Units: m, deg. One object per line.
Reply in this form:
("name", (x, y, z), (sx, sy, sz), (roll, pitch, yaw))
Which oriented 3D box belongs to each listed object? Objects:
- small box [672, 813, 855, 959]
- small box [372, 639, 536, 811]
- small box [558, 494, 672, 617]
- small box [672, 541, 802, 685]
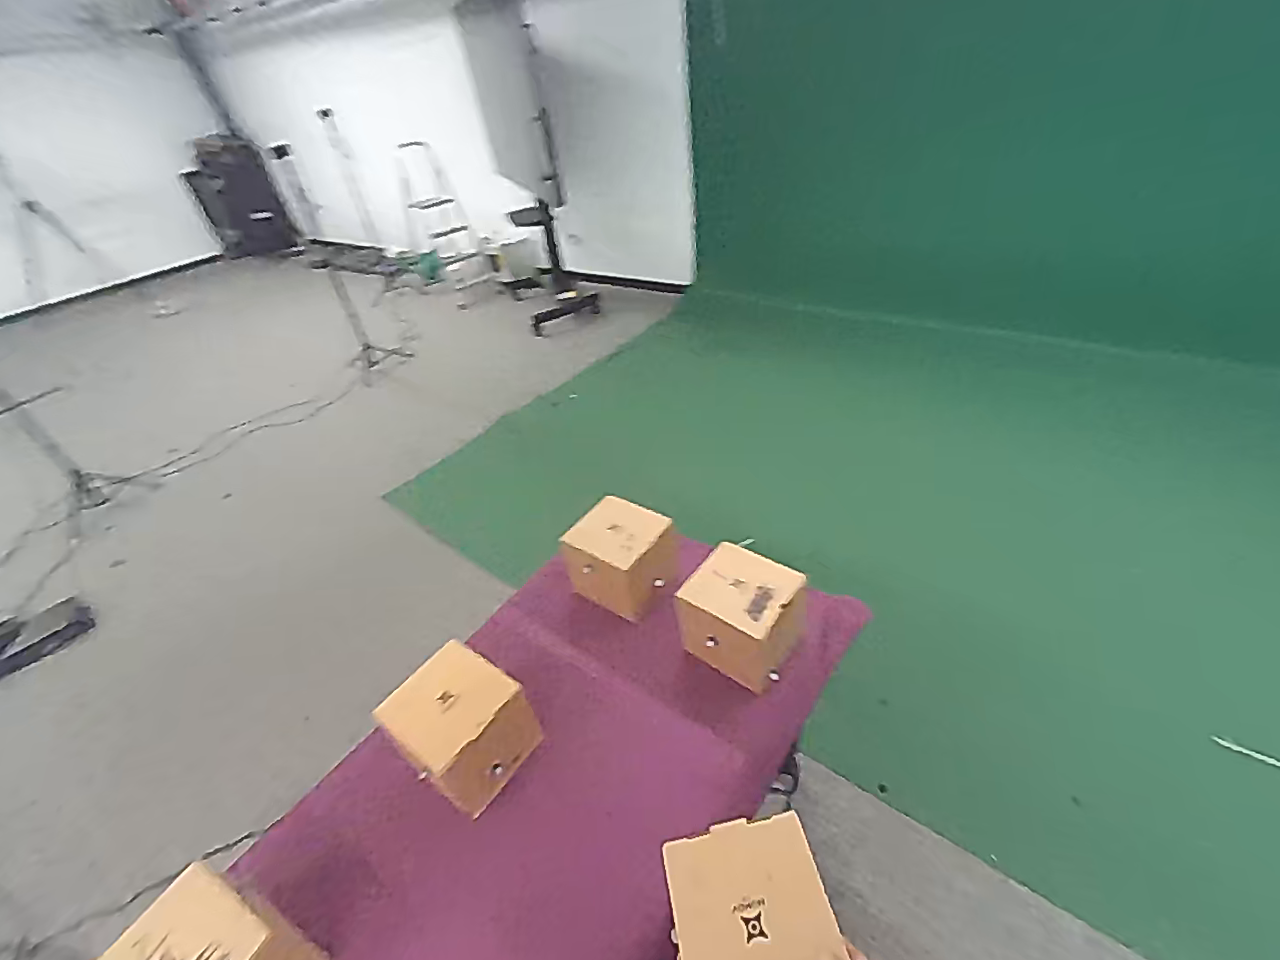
("small box", (0.139, 0.521, 0.616), (0.168, 0.176, 0.179), (-13, 39, 0))
("small box", (-0.302, 0.410, 0.906), (0.179, 0.176, 0.168), (21, 46, 29))
("small box", (-0.047, 0.163, 1.167), (0.179, 0.176, 0.168), (21, 48, 31))
("small box", (0.184, 0.252, 1.014), (0.179, 0.176, 0.168), (22, 48, 35))
